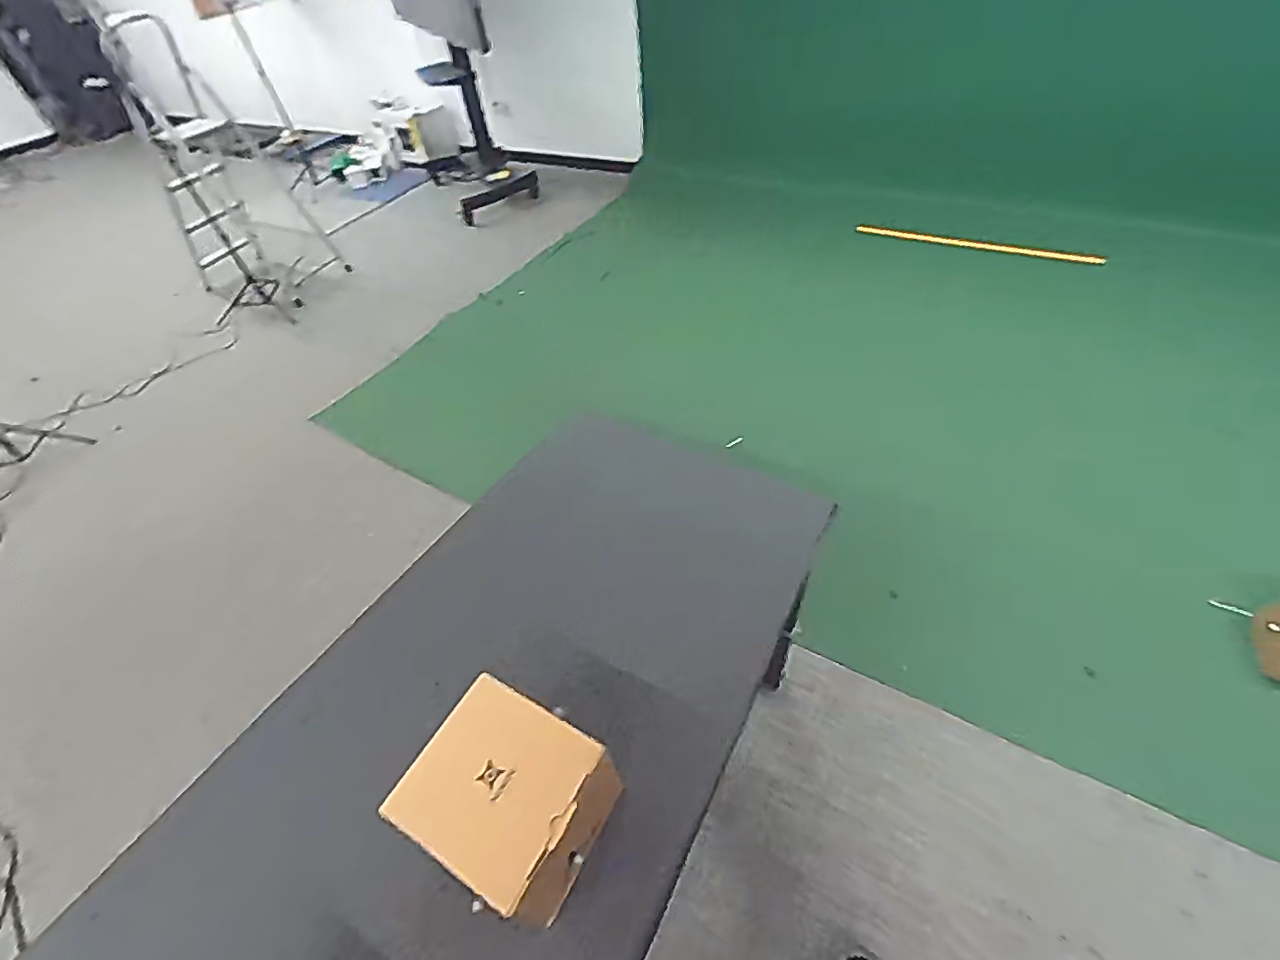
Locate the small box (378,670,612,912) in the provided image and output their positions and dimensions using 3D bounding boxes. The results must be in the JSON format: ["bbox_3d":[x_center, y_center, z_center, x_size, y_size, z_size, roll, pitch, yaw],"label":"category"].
[{"bbox_3d":[-0.150,0.358,0.621,0.179,0.176,0.168,21,53,22],"label":"small box"}]
